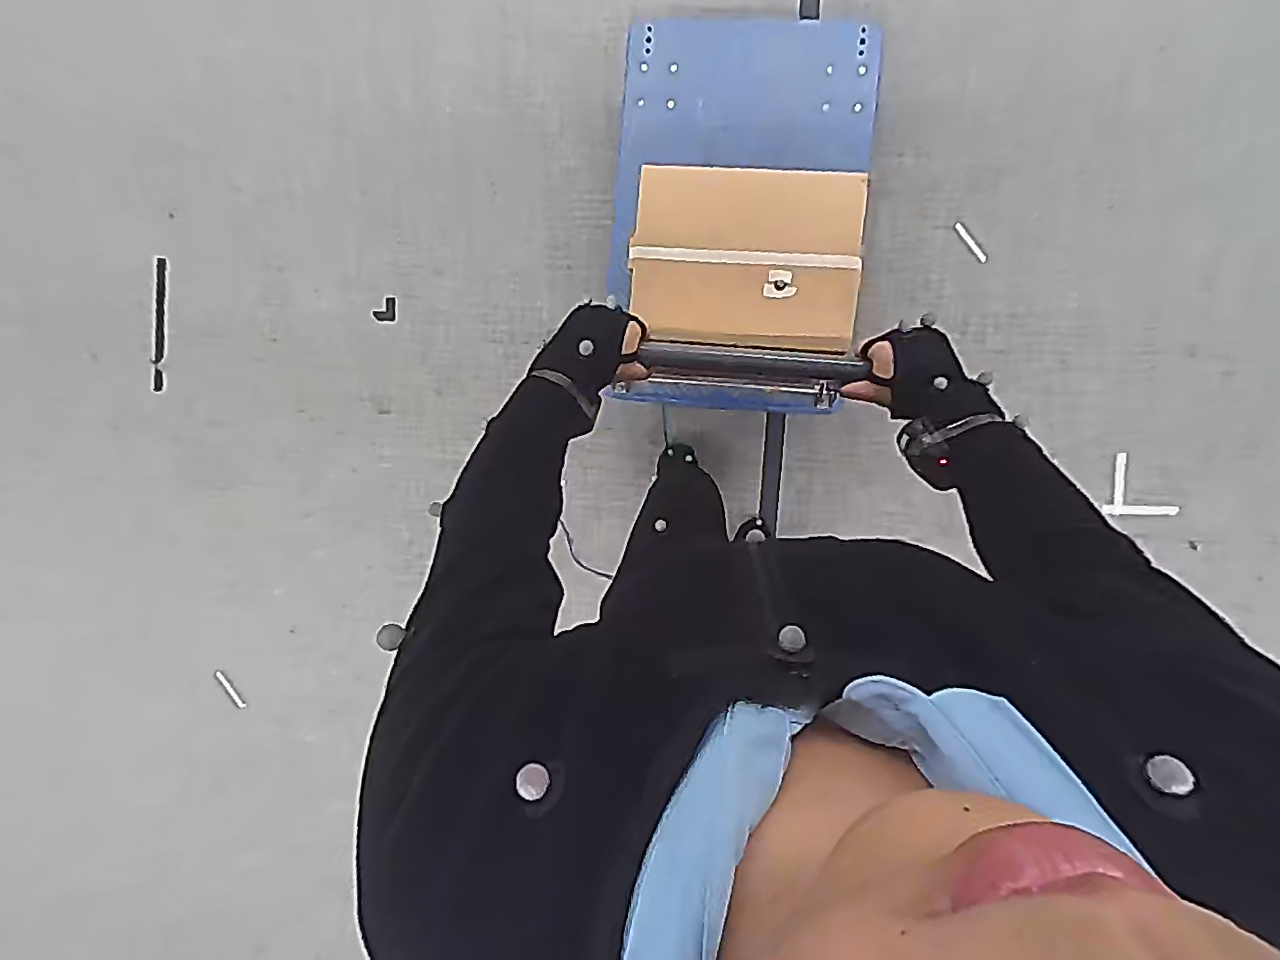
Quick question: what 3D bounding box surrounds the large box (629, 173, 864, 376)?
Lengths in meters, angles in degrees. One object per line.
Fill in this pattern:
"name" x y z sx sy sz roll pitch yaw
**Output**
"large box" 0.198 -0.397 1.119 0.408 0.320 0.320 5 95 5
